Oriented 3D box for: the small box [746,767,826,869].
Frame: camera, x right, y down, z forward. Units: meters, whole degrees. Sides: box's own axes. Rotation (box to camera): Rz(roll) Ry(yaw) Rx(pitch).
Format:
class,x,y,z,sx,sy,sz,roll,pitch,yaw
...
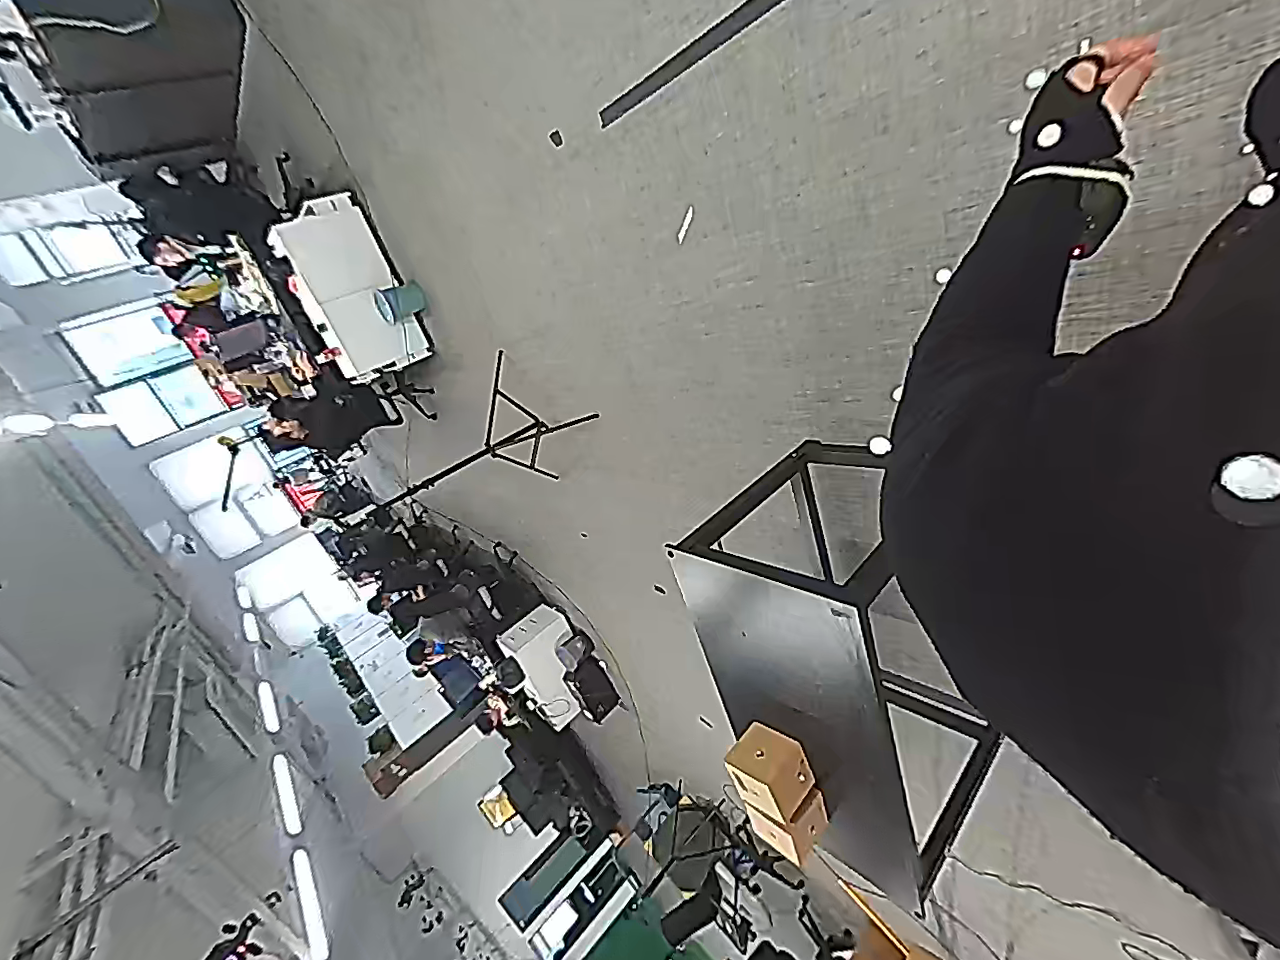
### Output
class,x,y,z,sx,sy,sz,roll,pitch,yaw
small box,0.461,1.043,1.685,0.179,0.176,0.168,14,129,49
